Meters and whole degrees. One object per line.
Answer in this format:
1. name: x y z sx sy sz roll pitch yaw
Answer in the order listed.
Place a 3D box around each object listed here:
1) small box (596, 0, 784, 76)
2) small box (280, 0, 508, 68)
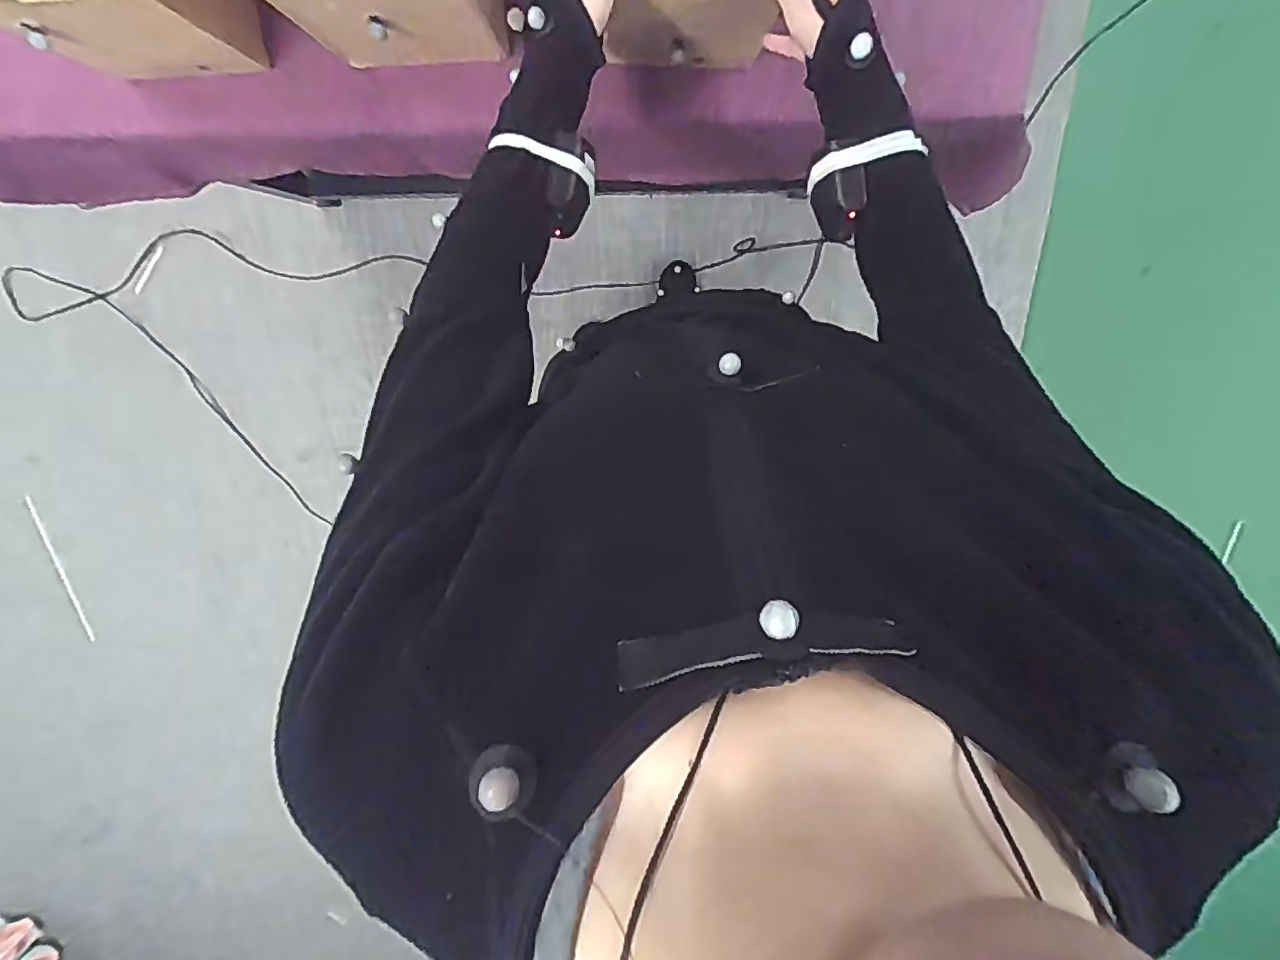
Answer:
1. small box: 0.044 -0.507 0.490 0.168 0.176 0.179 2 108 -1
2. small box: -0.232 -0.503 0.491 0.179 0.176 0.168 -2 109 0
